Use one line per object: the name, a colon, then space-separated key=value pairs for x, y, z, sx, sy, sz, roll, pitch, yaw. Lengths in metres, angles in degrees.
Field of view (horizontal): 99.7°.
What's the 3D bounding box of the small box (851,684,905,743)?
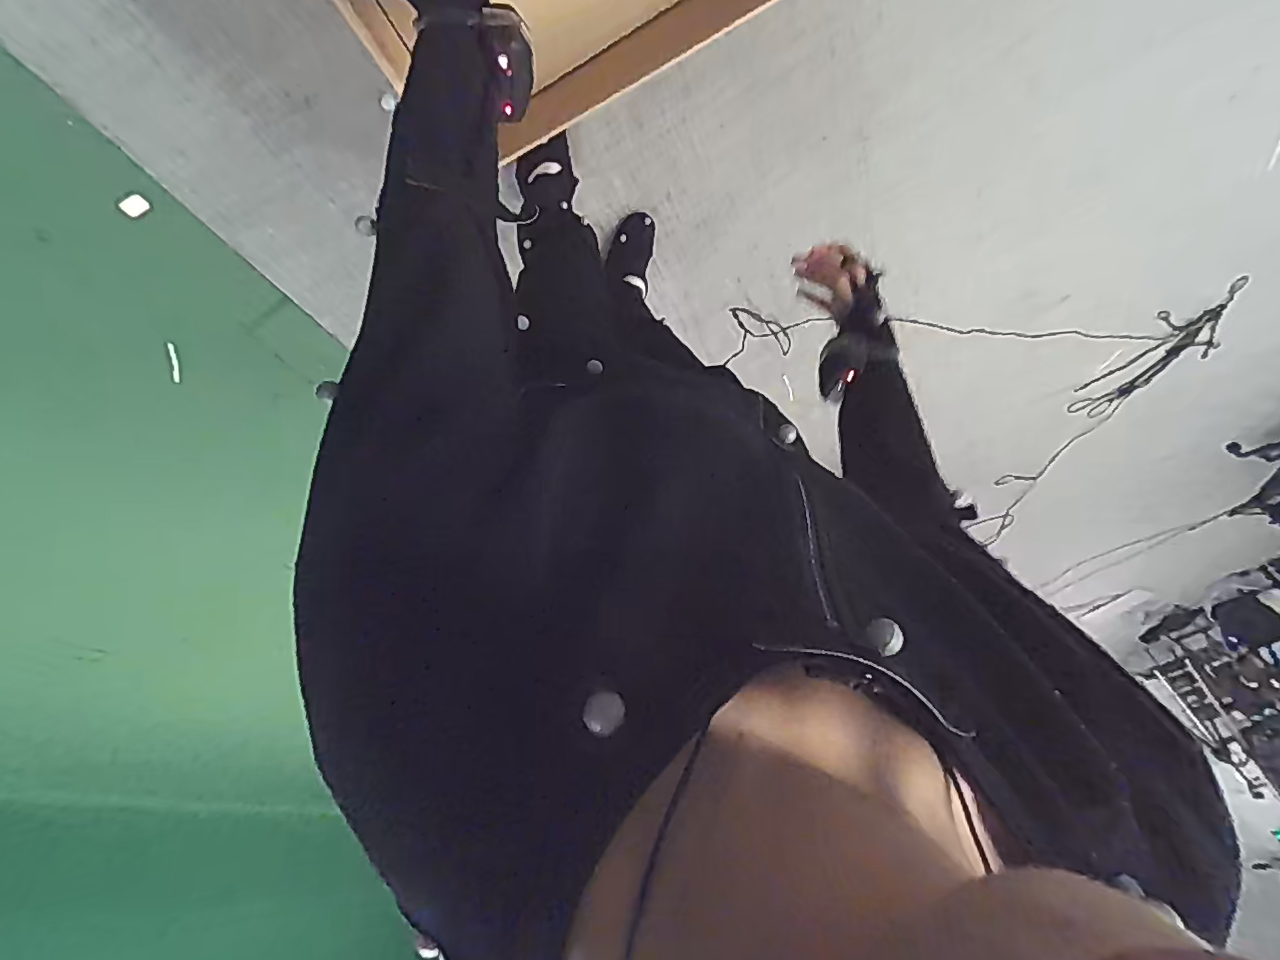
small box: x=0.971 y=0.968 z=2.251 sx=0.168 sy=0.176 sz=0.179 roll=-18 pitch=141 yaw=3
